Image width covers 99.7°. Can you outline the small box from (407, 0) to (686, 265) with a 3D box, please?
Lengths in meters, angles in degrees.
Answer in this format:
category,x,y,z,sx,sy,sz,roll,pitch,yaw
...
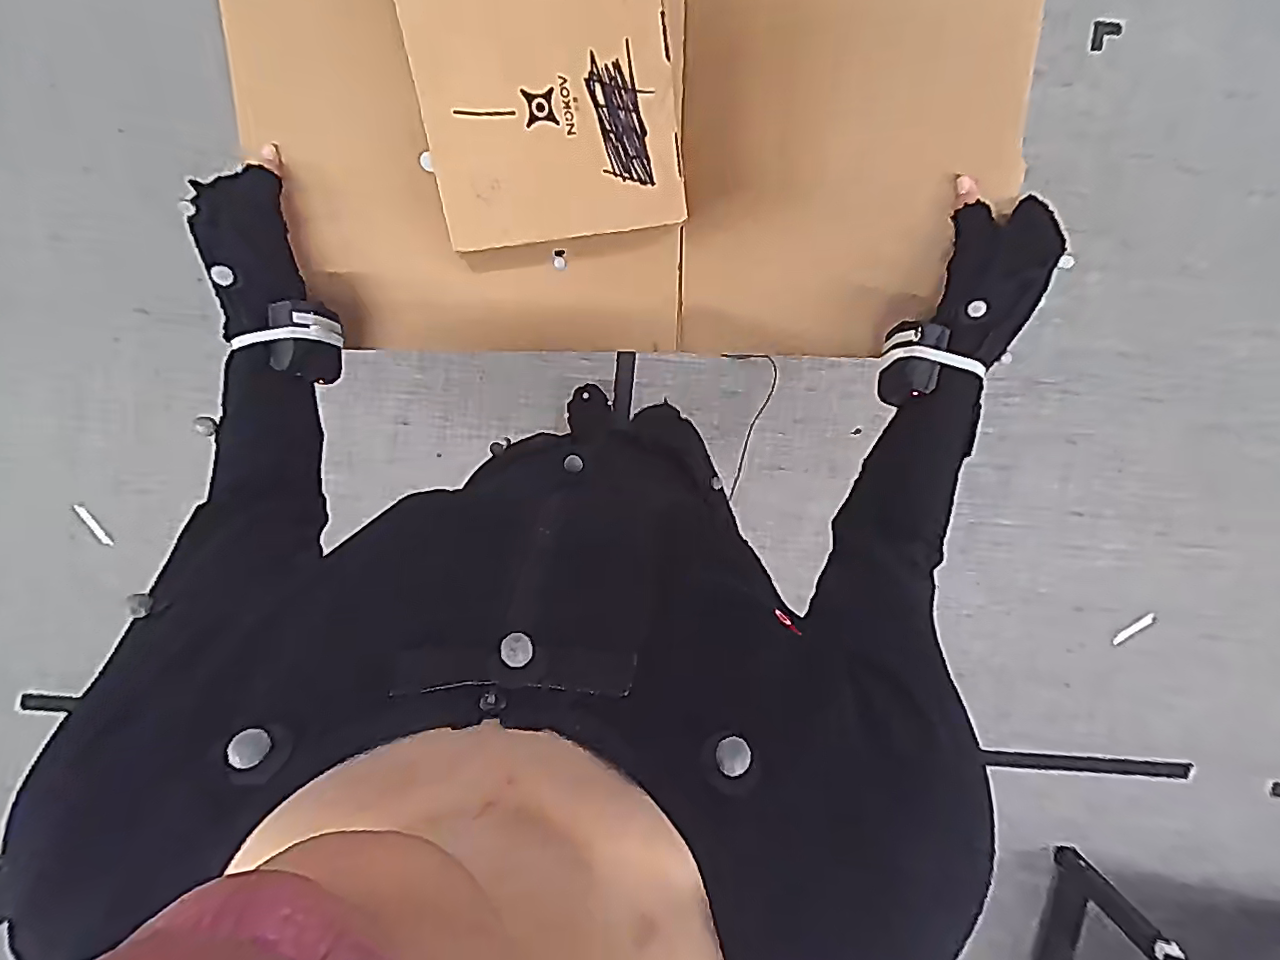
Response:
category,x,y,z,sx,sy,sz,roll,pitch,yaw
small box,-0.075,-0.284,0.455,0.179,0.176,0.168,-11,108,-9
